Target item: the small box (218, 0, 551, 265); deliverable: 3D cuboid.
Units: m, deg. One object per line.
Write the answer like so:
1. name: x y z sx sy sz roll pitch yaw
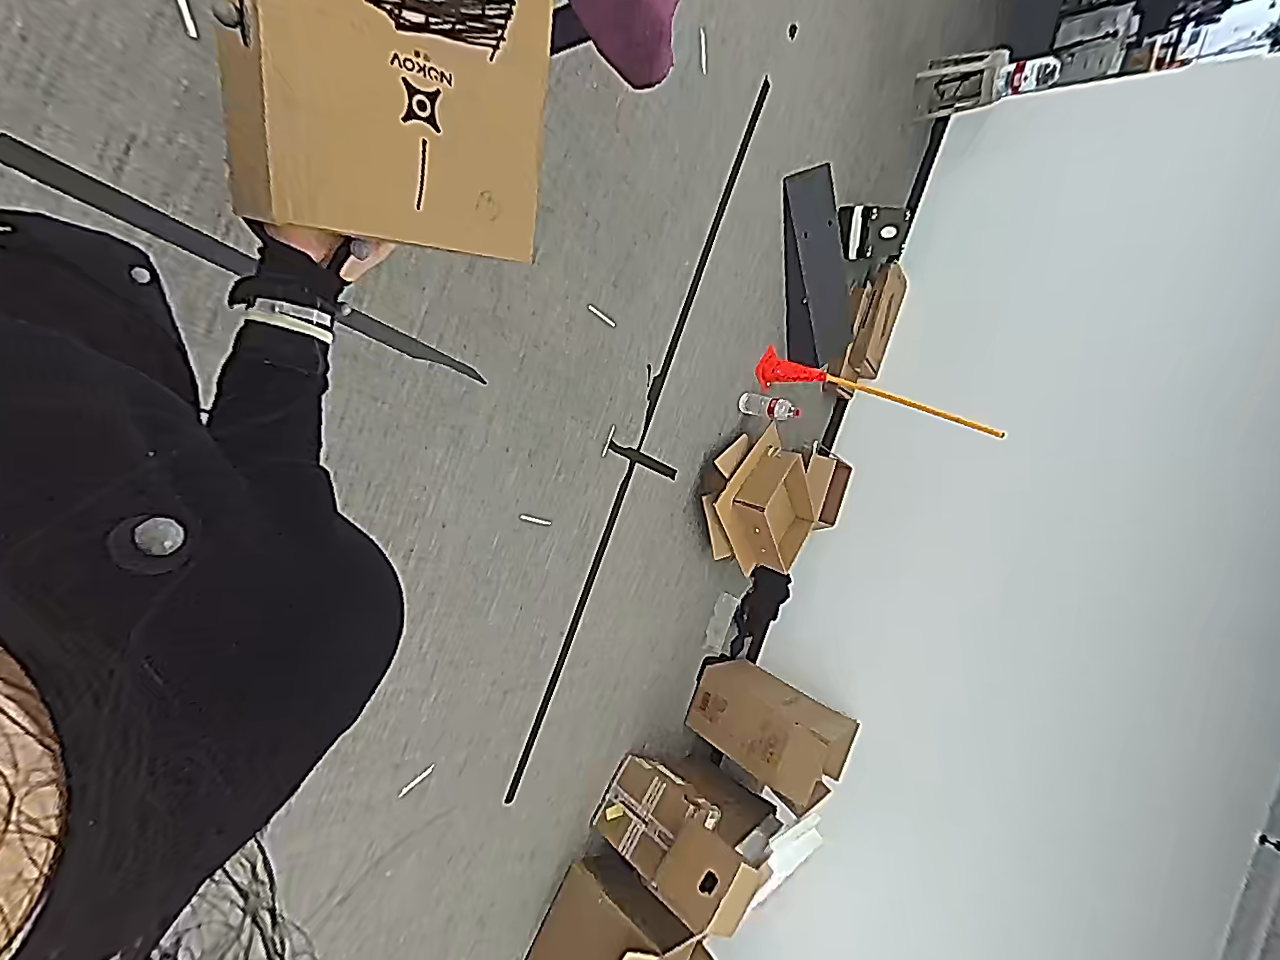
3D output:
1. small box: -0.184 -0.264 0.385 0.168 0.176 0.179 -9 117 -41
